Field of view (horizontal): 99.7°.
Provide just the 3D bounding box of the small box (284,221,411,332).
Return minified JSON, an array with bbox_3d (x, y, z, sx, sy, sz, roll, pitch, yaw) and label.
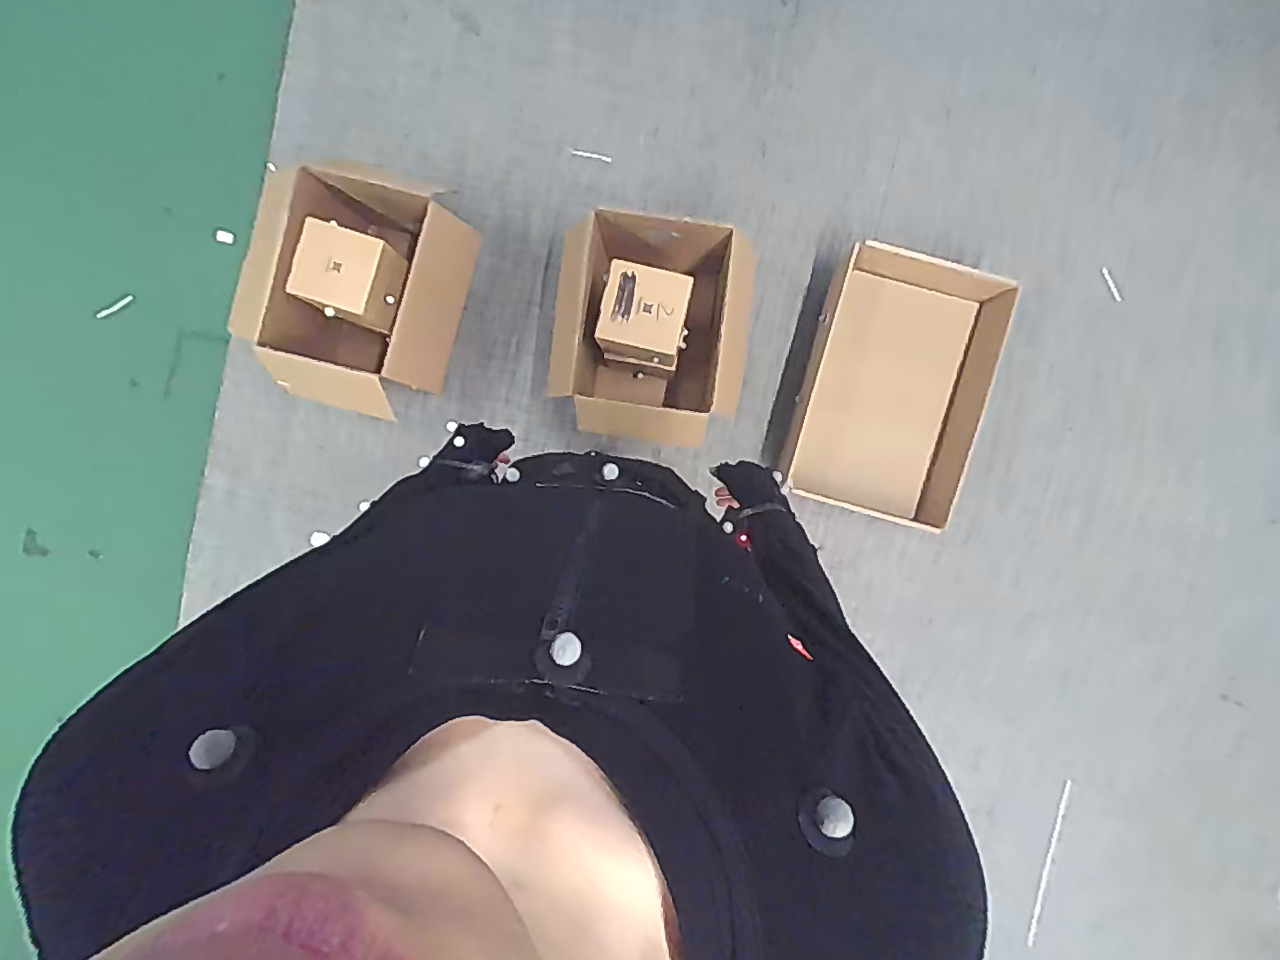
[{"bbox_3d":[-0.647,-0.447,1.219,0.179,0.176,0.168,17,91,0],"label":"small box"}]
